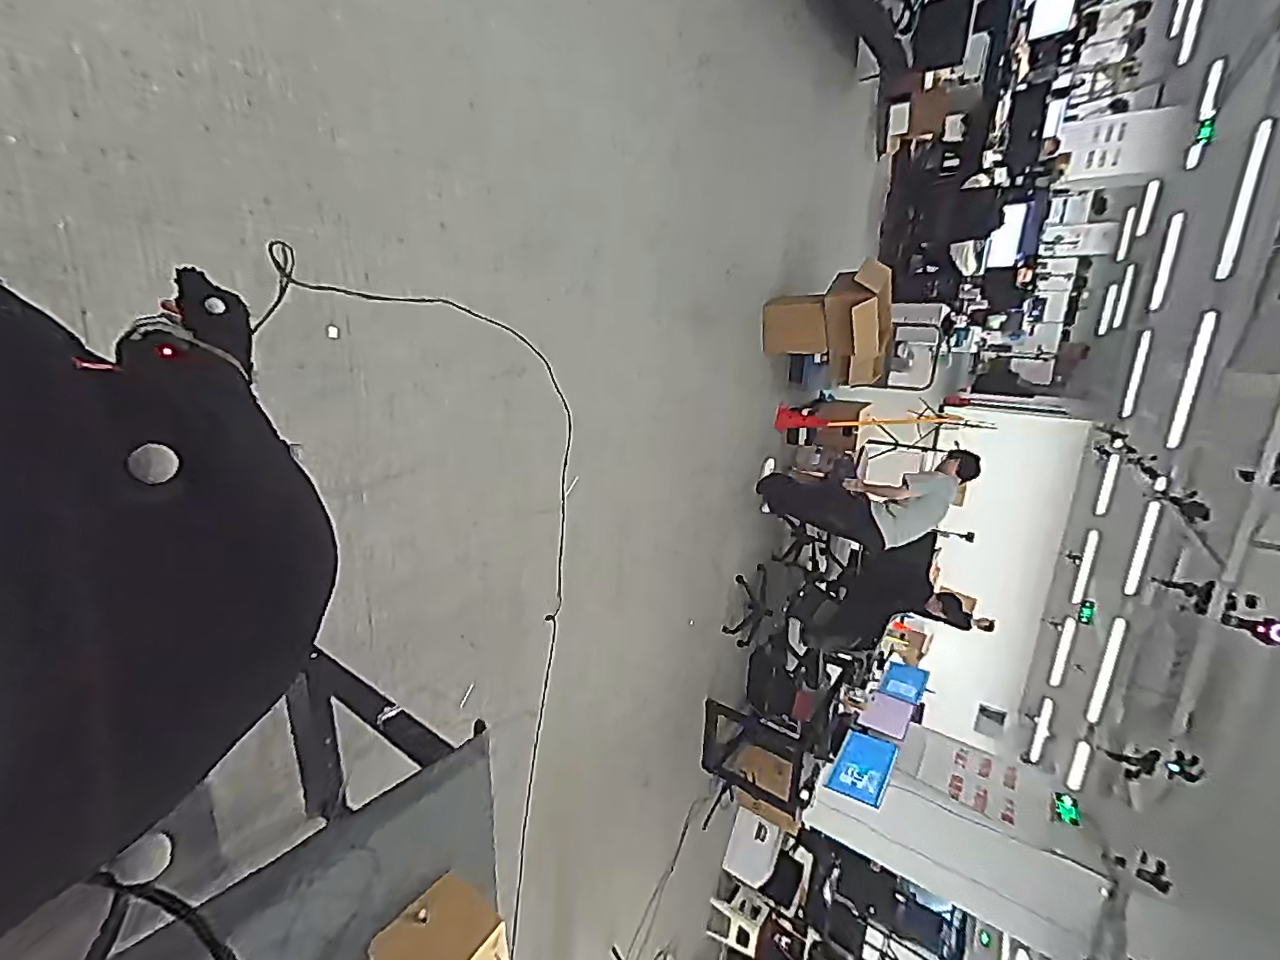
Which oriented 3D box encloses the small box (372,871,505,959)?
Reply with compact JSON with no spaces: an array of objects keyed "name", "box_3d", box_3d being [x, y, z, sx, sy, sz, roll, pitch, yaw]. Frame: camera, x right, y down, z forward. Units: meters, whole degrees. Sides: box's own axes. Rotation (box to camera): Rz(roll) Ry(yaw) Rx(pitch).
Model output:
[{"name":"small box","box_3d":[-0.374,0.892,1.003,0.179,0.176,0.168,-23,119,-51]}]
